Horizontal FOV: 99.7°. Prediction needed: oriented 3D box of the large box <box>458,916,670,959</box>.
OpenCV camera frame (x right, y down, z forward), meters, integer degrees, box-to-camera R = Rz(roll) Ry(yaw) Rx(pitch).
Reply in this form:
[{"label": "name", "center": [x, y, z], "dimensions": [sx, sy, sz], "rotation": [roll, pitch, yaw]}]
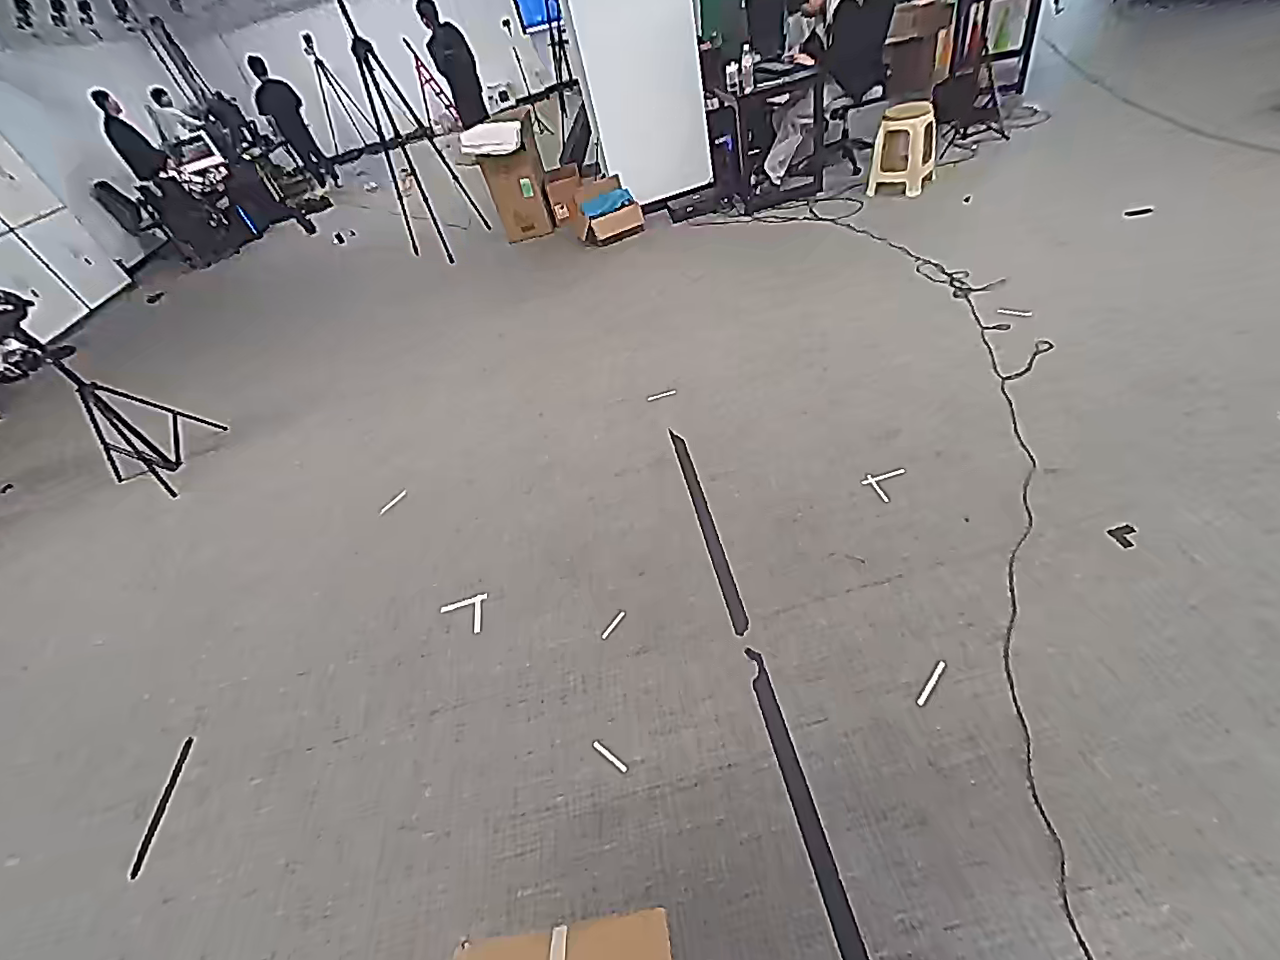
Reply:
[{"label": "large box", "center": [-0.084, 0.822, 0.609], "dimensions": [0.320, 0.320, 0.408], "rotation": [-7, -1, -3]}]
